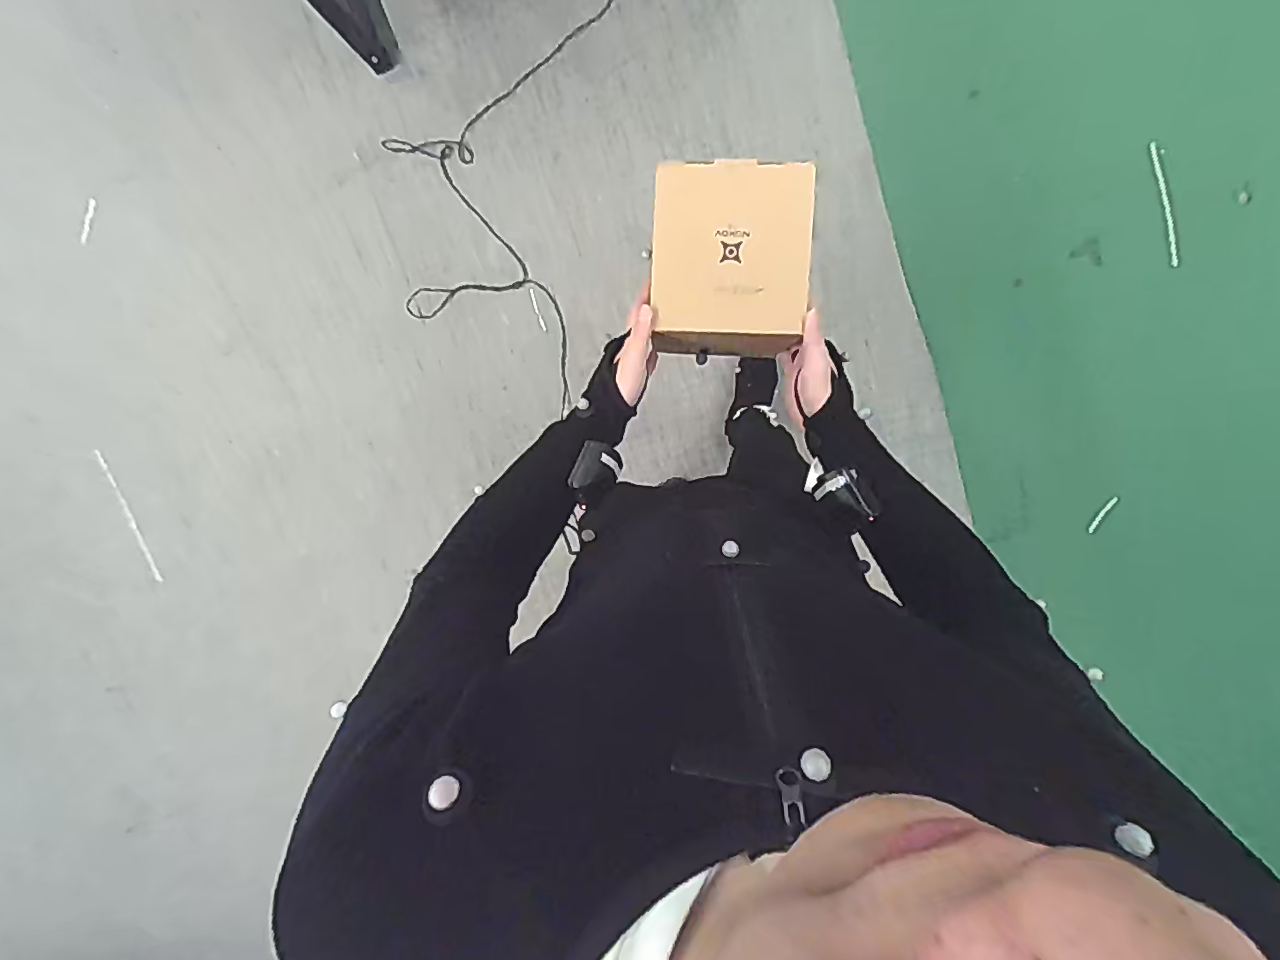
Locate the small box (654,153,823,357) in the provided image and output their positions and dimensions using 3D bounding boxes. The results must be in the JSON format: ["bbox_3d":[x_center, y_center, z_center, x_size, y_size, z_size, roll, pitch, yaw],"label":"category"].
[{"bbox_3d":[0.103,-0.248,0.632,0.168,0.176,0.179,3,95,3],"label":"small box"}]
